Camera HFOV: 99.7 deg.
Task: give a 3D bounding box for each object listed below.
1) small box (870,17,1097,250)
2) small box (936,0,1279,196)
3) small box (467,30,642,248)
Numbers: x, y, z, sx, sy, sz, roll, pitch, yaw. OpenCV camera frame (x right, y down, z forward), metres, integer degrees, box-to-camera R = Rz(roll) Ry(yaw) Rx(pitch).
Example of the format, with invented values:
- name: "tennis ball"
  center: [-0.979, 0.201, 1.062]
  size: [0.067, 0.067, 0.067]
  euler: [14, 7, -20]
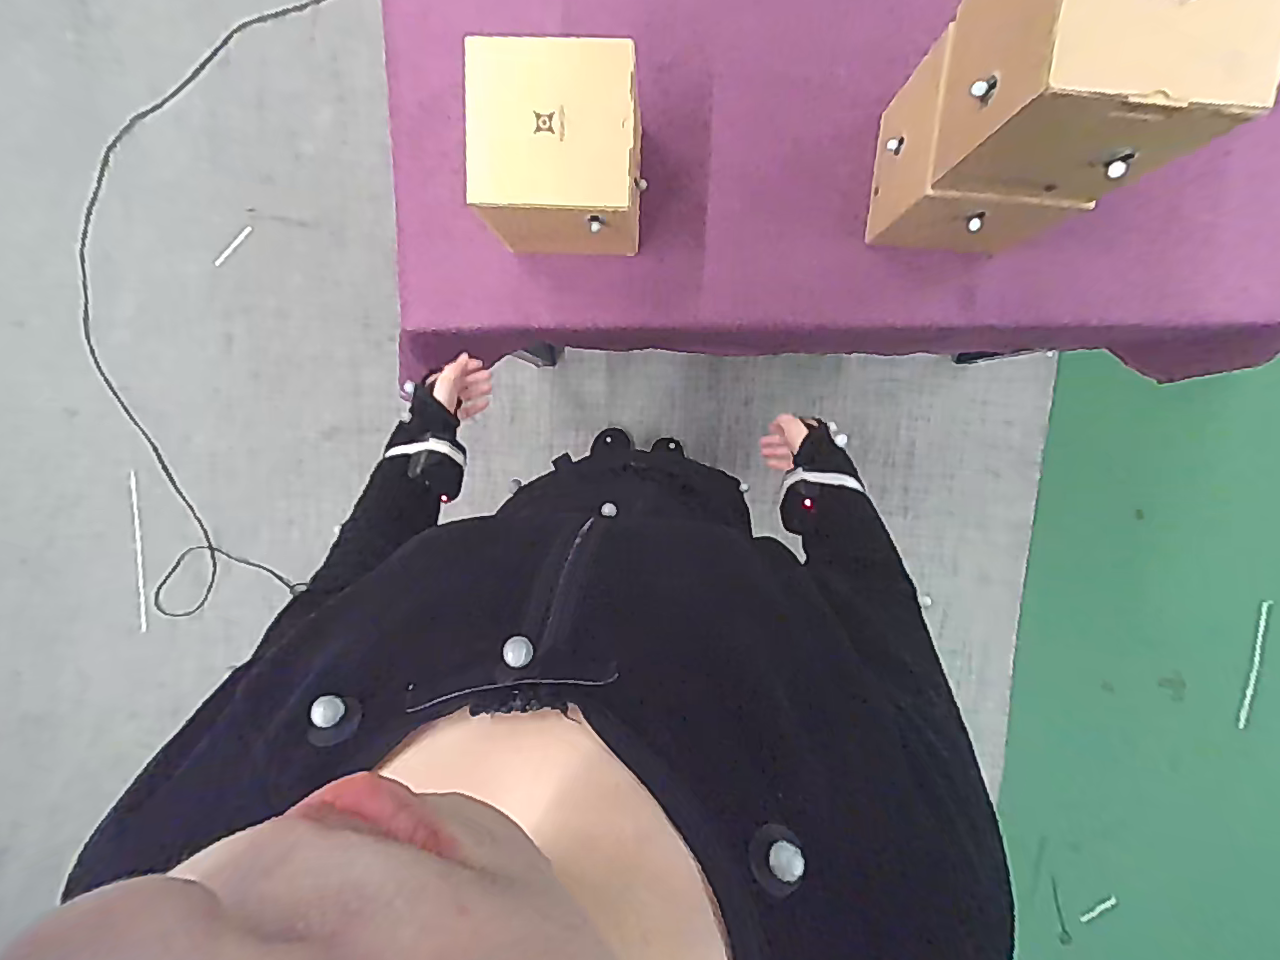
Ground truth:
- name: "small box"
  center: [0.386, -0.377, 0.620]
  size: [0.179, 0.176, 0.168]
  euler: [6, 98, 2]
- name: "small box"
  center: [0.381, -0.367, 0.457]
  size: [0.168, 0.176, 0.179]
  euler: [7, 96, 1]
- name: "small box"
  center: [-0.091, -0.385, 0.641]
  size: [0.179, 0.176, 0.168]
  euler: [2, 97, 1]
